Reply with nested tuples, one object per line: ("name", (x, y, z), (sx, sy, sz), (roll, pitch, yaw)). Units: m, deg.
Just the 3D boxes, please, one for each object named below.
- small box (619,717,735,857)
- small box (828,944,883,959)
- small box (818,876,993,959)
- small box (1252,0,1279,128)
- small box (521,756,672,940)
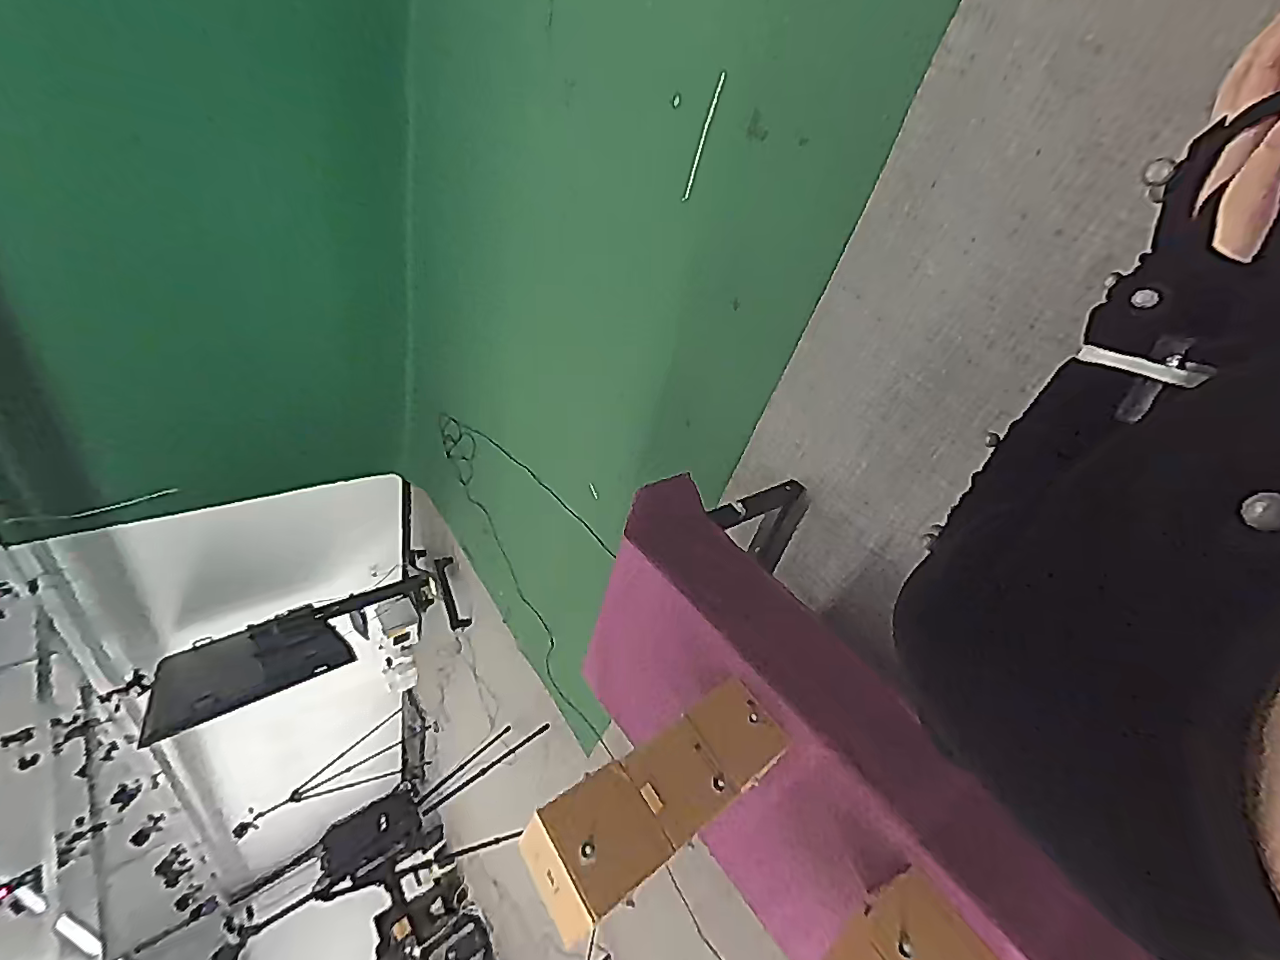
("small box", (0.050, 0.583, 1.013), (0.168, 0.176, 0.179), (48, 136, 30))
("small box", (0.307, 0.826, 0.776), (0.168, 0.176, 0.179), (47, 134, 32))
("small box", (0.433, 0.784, 0.871), (0.179, 0.176, 0.168), (46, 135, 32))
("small box", (0.388, -0.243, 0.202), (0.168, 0.176, 0.179), (6, 128, 31))
("small box", (-0.074, 0.610, 0.911), (0.179, 0.176, 0.168), (50, 134, 30))
